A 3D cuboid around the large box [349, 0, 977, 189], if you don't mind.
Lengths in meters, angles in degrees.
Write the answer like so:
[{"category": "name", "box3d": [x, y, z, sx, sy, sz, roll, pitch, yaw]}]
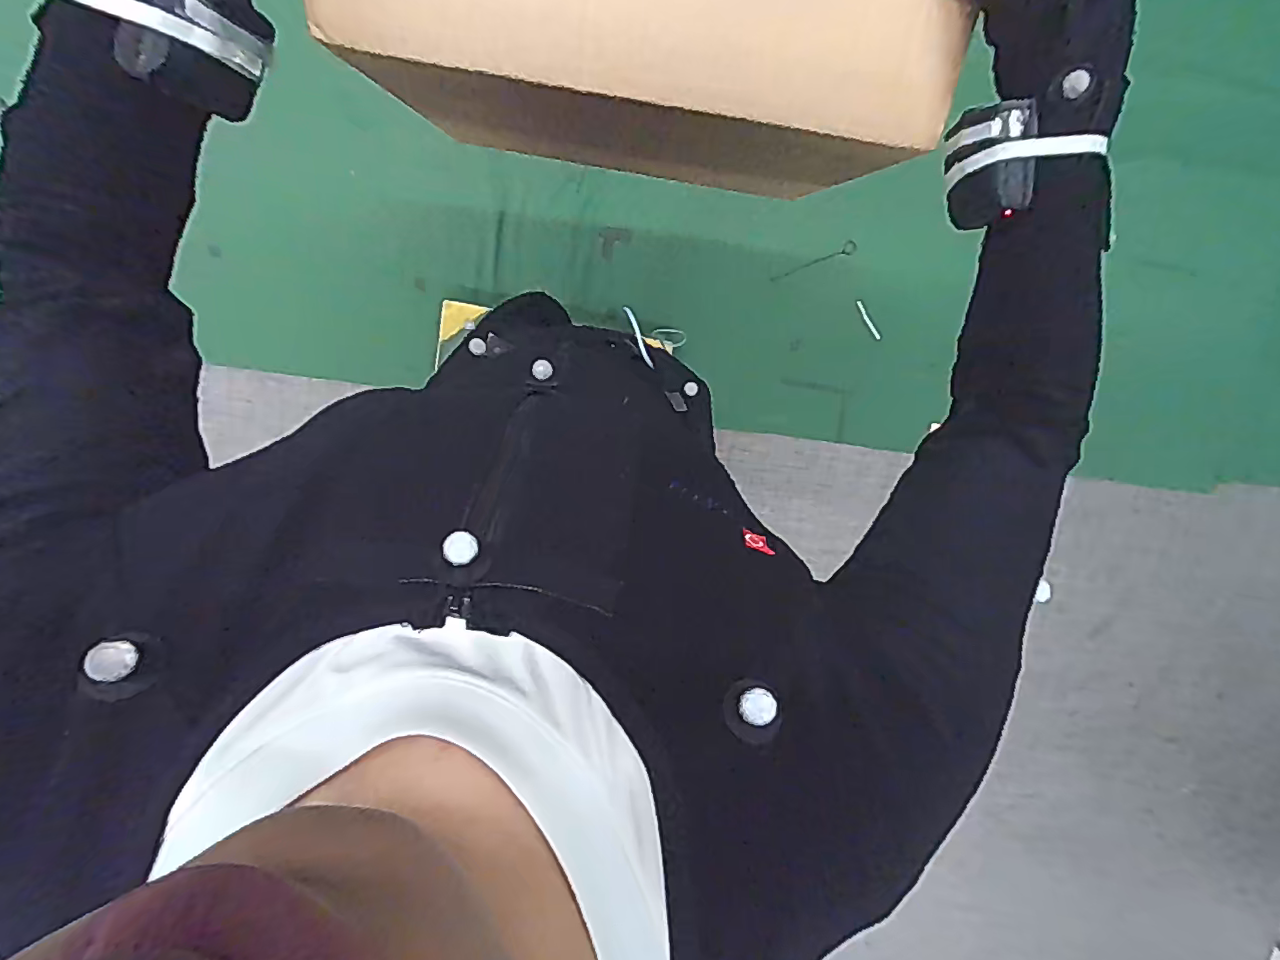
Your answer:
[{"category": "large box", "box3d": [0.022, -0.452, 0.441, 0.408, 0.320, 0.320, 6, 112, -6]}]
